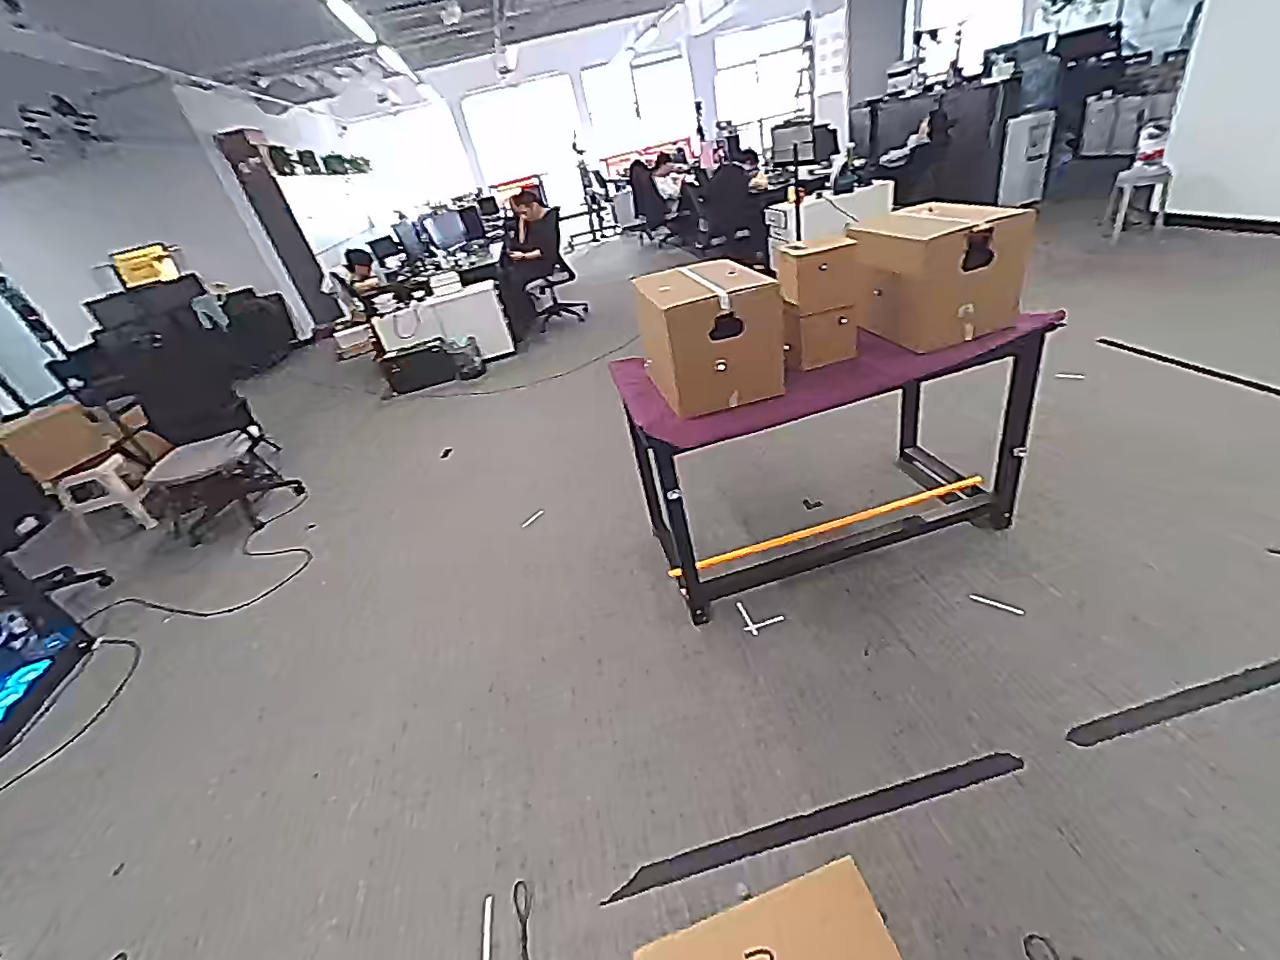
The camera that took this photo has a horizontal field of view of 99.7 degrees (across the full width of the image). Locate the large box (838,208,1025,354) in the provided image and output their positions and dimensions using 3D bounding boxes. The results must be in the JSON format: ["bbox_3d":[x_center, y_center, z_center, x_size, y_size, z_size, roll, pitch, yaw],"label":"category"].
[{"bbox_3d":[0.848,-0.611,1.631,0.320,0.320,0.408,-16,30,-5],"label":"large box"}]
